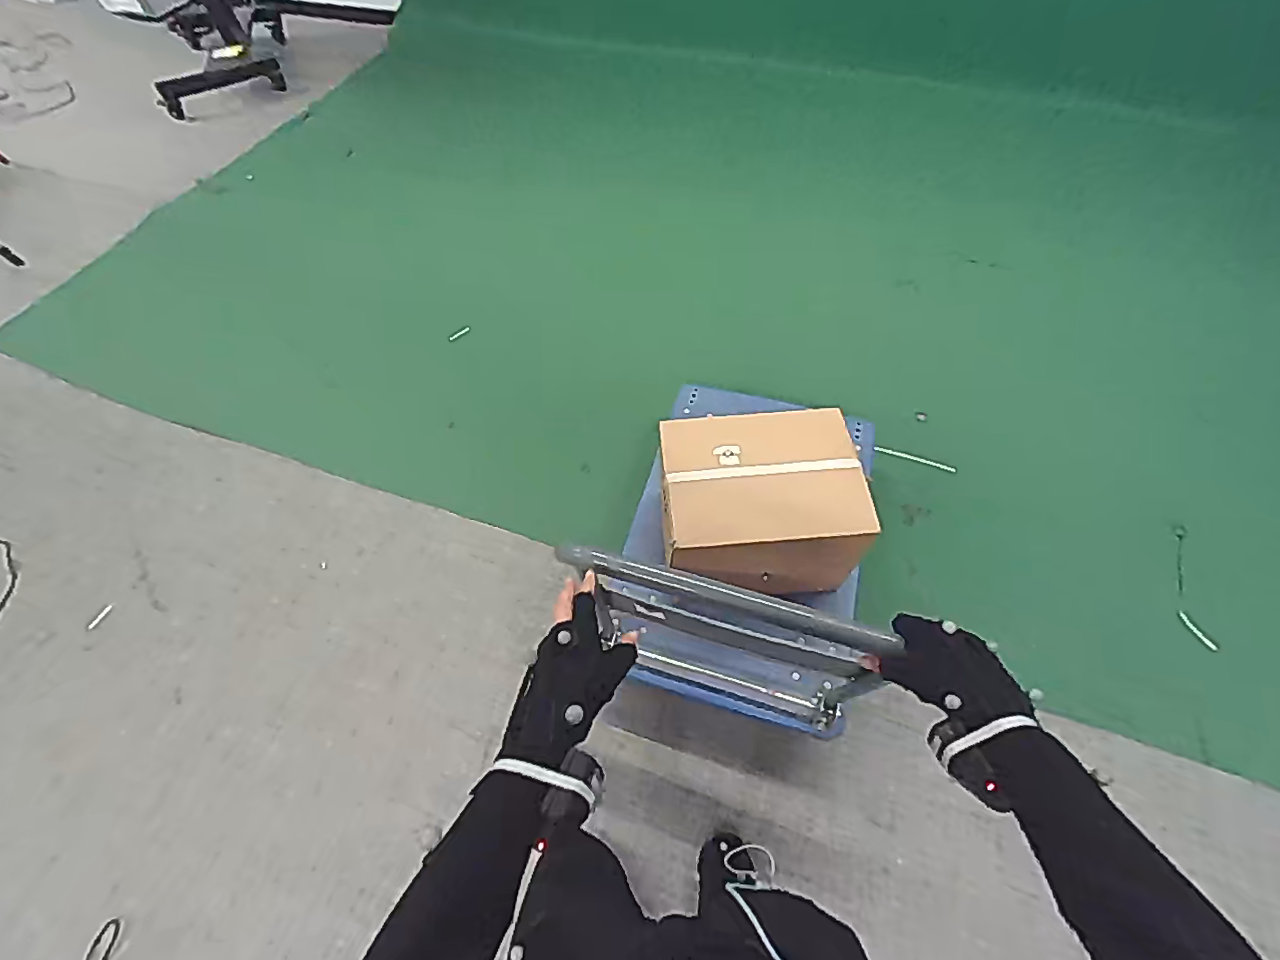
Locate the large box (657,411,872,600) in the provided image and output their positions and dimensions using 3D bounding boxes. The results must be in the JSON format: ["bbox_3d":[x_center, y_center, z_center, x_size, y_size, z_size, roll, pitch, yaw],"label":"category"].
[{"bbox_3d":[0.256,0.071,1.256,0.408,0.320,0.320,-5,58,1],"label":"large box"}]
